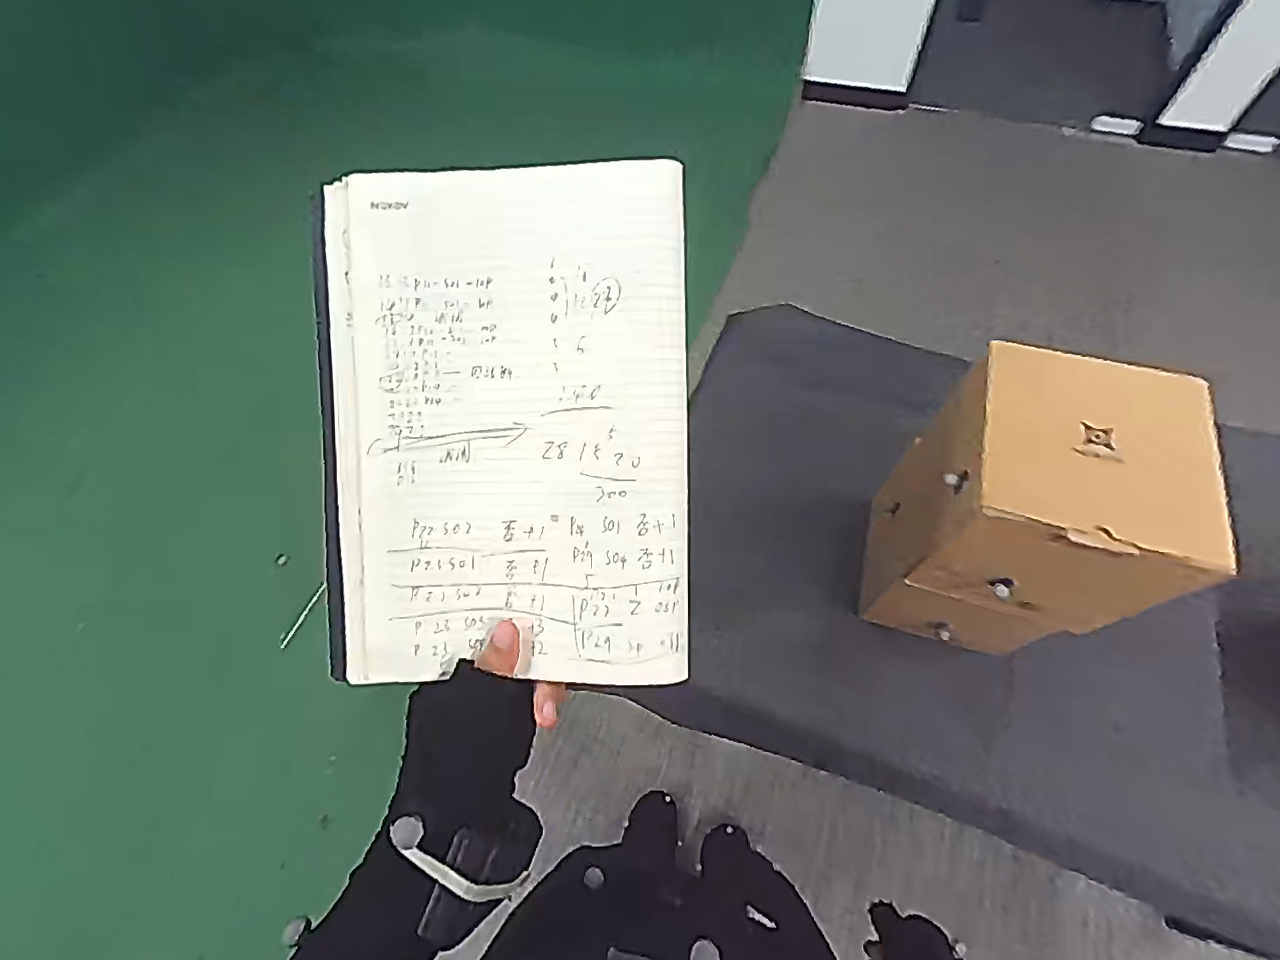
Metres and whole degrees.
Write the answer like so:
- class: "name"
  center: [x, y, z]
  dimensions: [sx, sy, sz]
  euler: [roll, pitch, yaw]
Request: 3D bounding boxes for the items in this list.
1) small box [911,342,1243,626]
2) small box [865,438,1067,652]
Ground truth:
- class: "small box"
  center: [0.366, 0.009, 0.493]
  dimensions: [0.168, 0.176, 0.179]
  euler: [15, 63, 12]
- class: "small box"
  center: [0.379, 0.081, 0.638]
  dimensions: [0.168, 0.176, 0.179]
  euler: [14, 63, 12]
